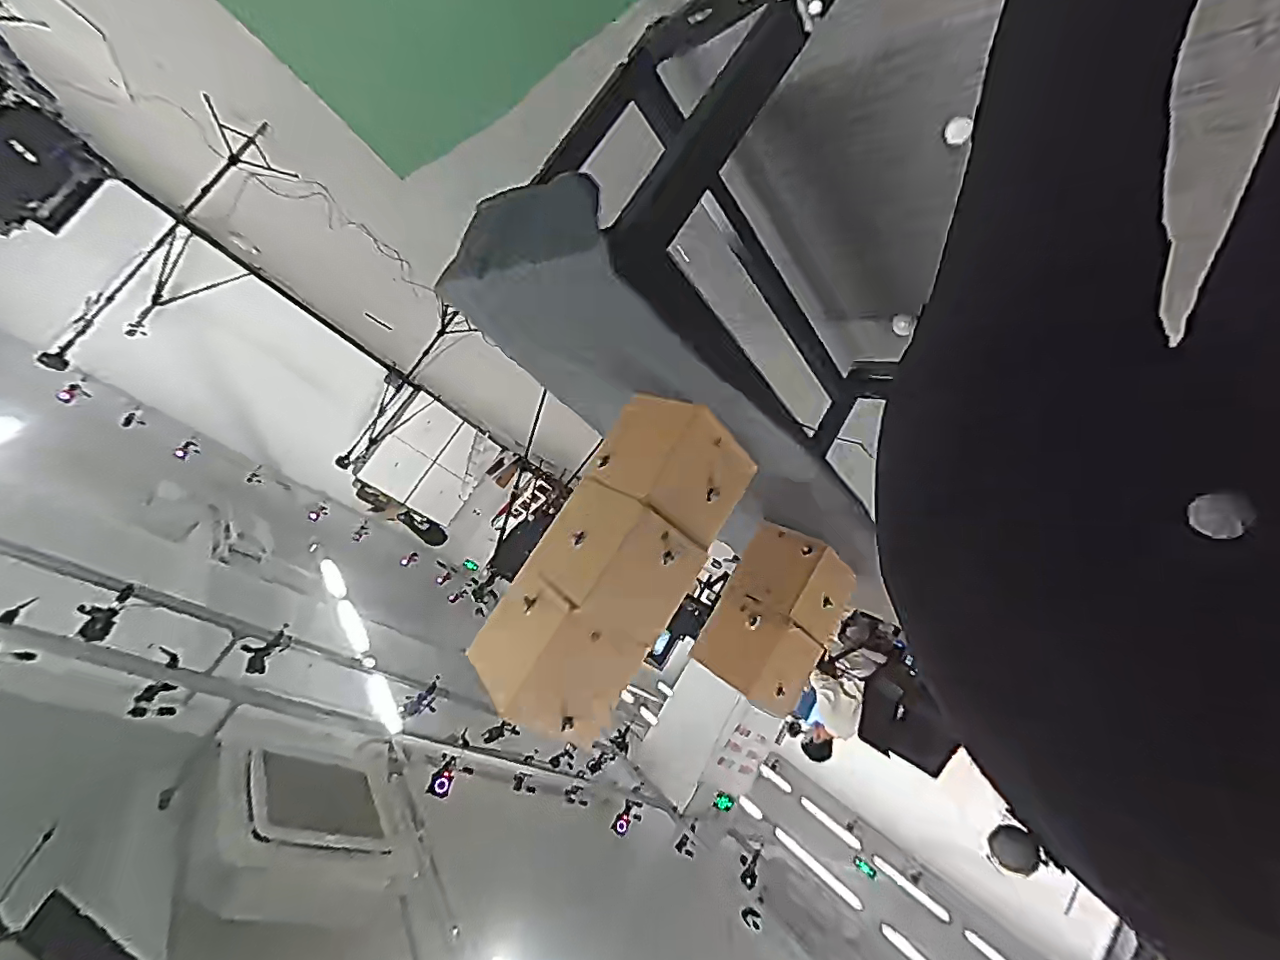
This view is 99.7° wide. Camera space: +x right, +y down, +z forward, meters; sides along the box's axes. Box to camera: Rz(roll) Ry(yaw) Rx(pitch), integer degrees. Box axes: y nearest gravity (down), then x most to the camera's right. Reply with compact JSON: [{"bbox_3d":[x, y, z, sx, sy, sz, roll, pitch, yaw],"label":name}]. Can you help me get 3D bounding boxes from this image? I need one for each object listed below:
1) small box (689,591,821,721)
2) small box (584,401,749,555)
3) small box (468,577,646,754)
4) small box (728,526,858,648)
[{"bbox_3d":[0.240,0.354,1.103,0.168,0.176,0.179,20,163,49],"label":"small box"},{"bbox_3d":[0.050,-0.010,0.860,0.168,0.176,0.179,39,169,-37],"label":"small box"},{"bbox_3d":[-0.122,0.265,0.809,0.168,0.176,0.179,38,170,-34],"label":"small box"},{"bbox_3d":[0.322,0.217,1.131,0.179,0.176,0.168,39,169,-38],"label":"small box"}]
